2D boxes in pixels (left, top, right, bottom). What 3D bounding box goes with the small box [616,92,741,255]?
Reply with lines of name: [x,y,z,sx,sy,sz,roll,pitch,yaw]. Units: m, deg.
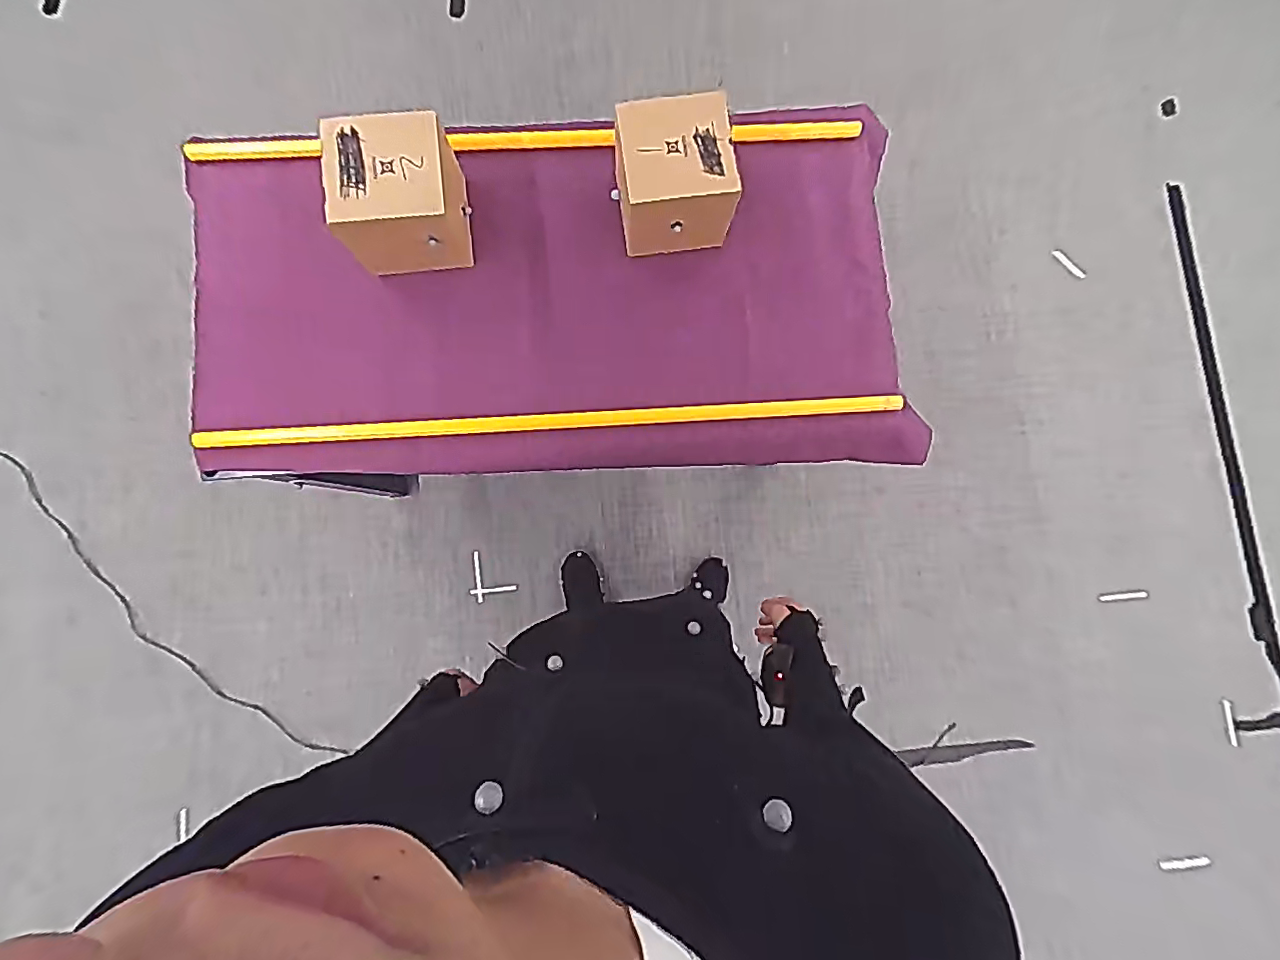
small box: [0.055,-0.496,0.896,0.179,0.176,0.168,-8,86,-2]
